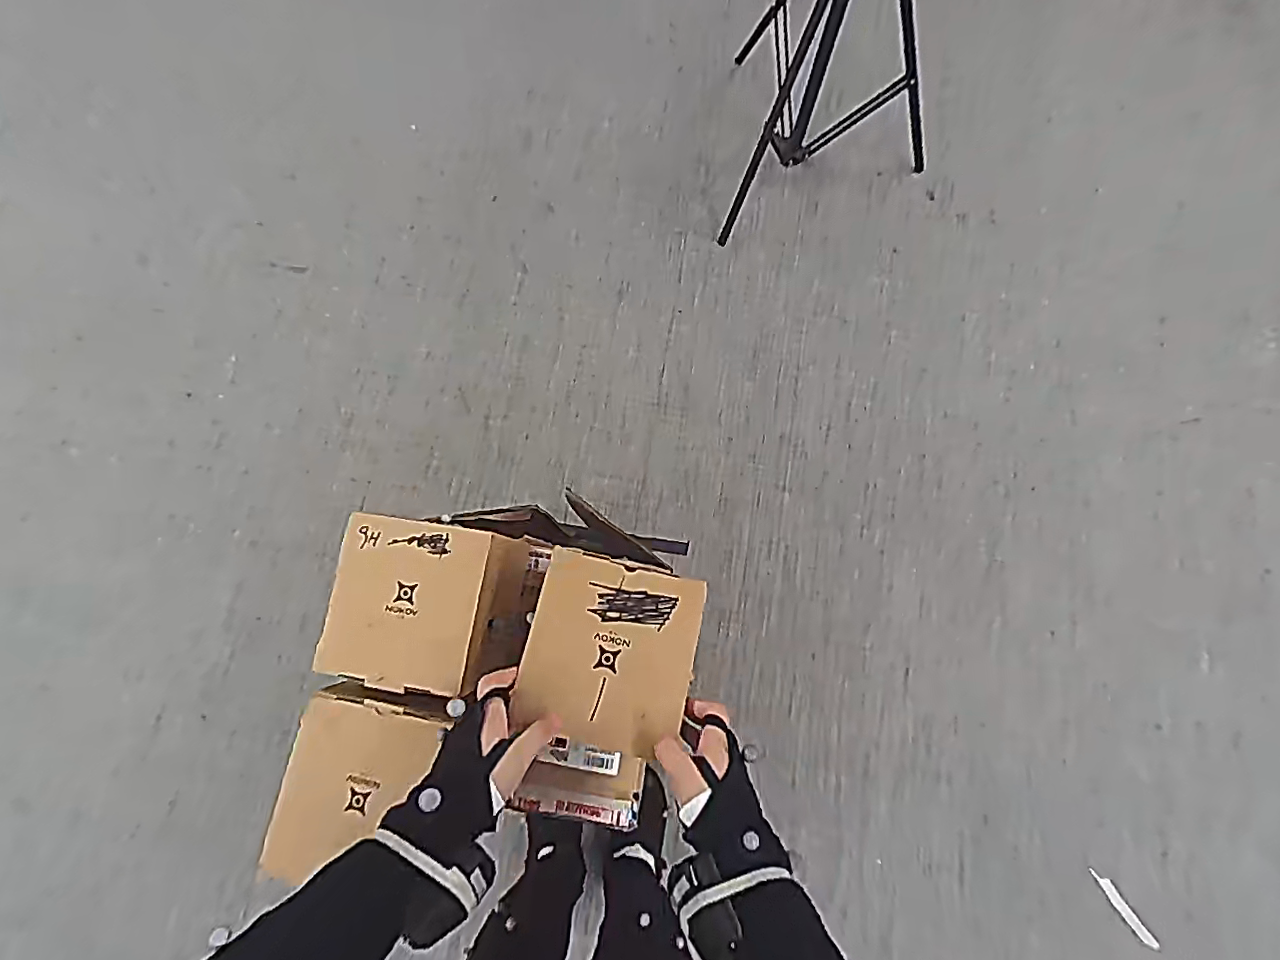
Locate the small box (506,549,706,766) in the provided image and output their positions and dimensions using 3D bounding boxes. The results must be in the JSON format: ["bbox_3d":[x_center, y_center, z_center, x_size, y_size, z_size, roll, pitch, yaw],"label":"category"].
[{"bbox_3d":[-0.034,0.193,0.607,0.168,0.176,0.179,13,73,1],"label":"small box"}]
